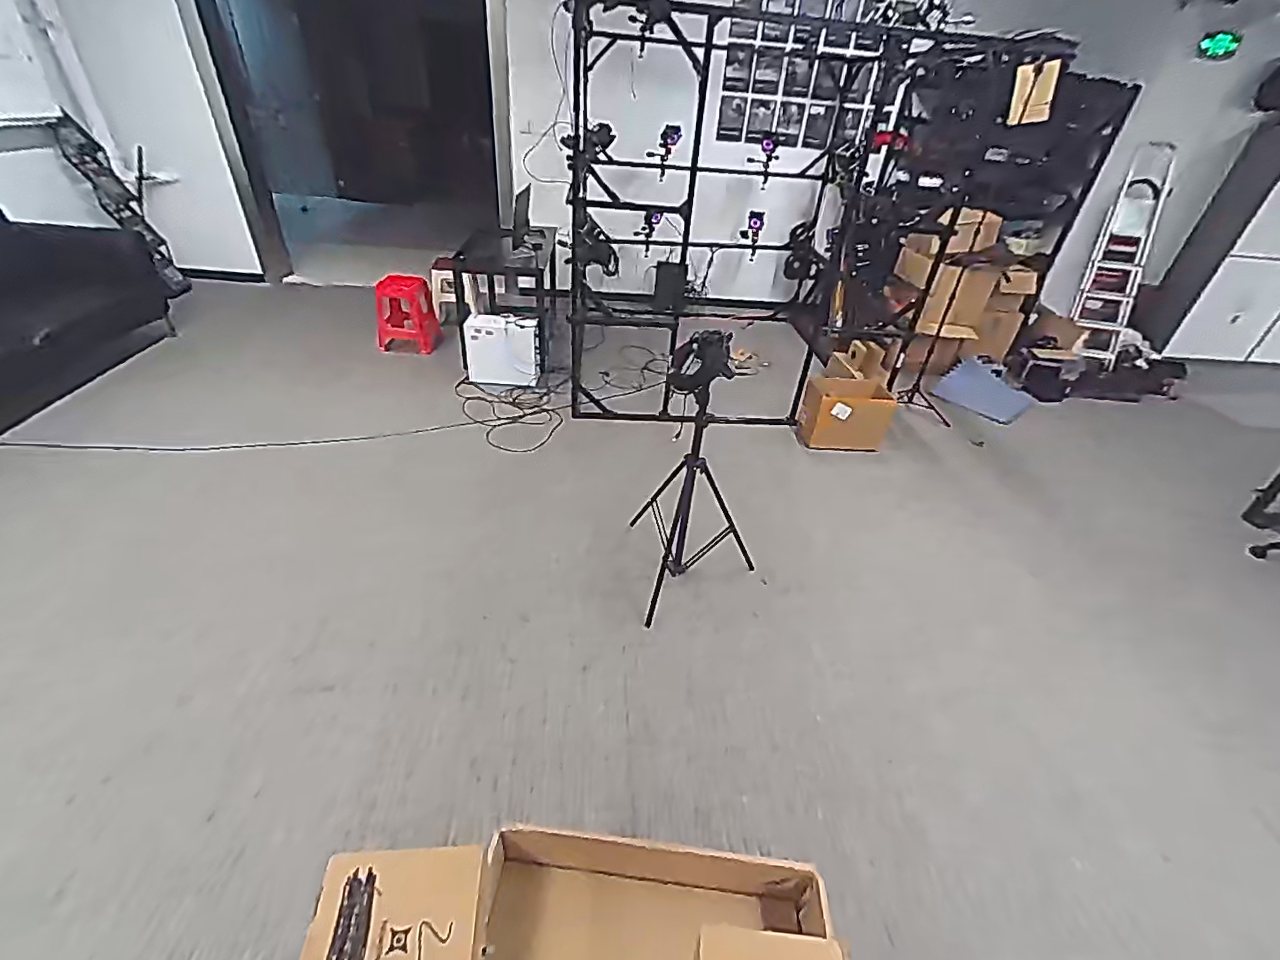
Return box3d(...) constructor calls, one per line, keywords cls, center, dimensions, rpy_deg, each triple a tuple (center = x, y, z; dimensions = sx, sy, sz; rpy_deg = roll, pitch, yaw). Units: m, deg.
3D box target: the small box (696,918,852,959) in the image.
box3d(cls="small box", center=(0.149, 0.644, 0.617), dimensions=(0.179, 0.176, 0.168), rpy_deg=(5, 31, 3))
